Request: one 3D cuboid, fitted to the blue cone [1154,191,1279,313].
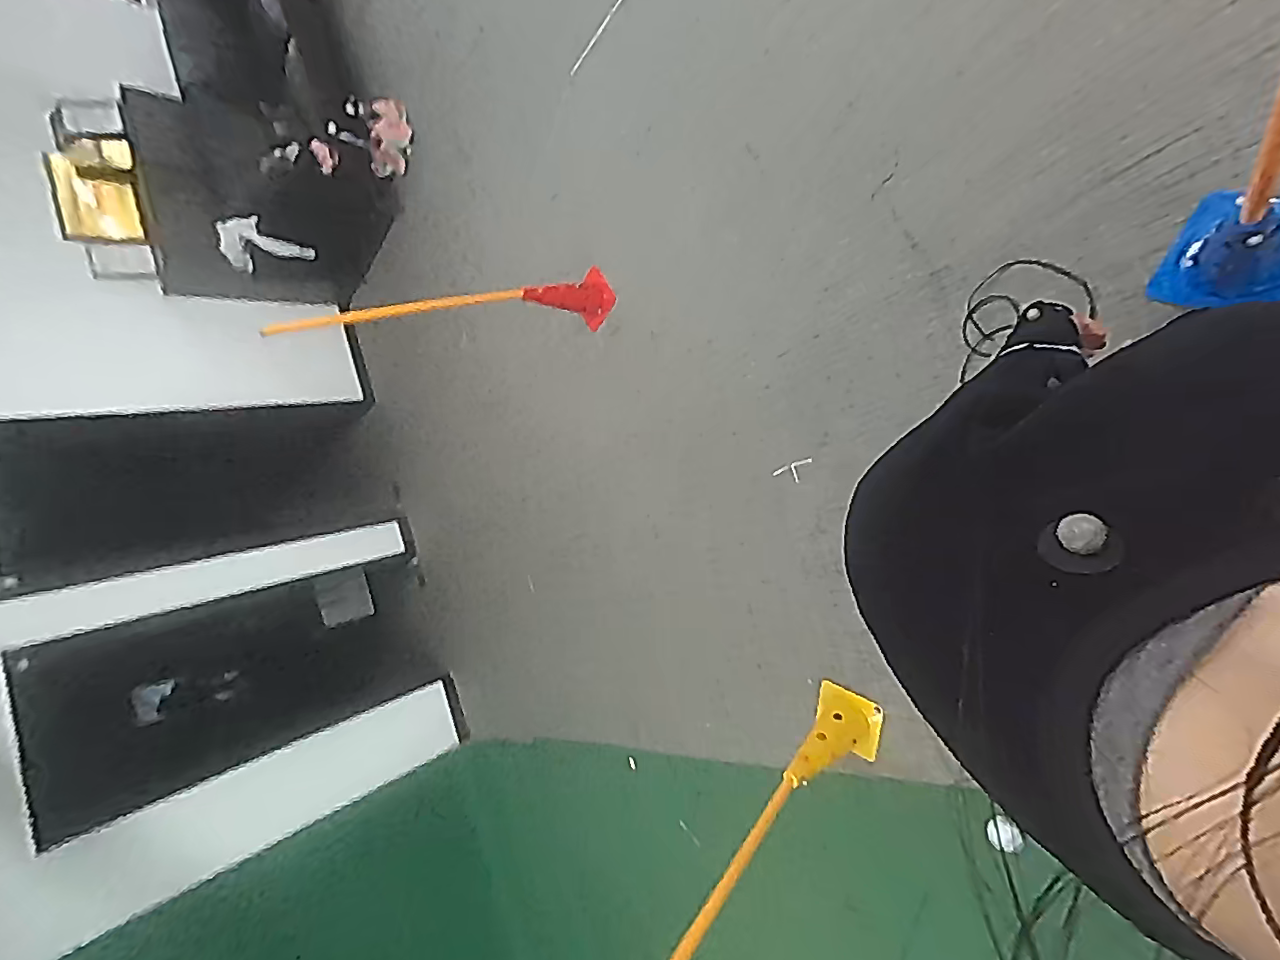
[{"bbox_3d":[0.973,-0.398,0.868,0.192,0.380,0.193,35,120,36],"label":"blue cone"}]
